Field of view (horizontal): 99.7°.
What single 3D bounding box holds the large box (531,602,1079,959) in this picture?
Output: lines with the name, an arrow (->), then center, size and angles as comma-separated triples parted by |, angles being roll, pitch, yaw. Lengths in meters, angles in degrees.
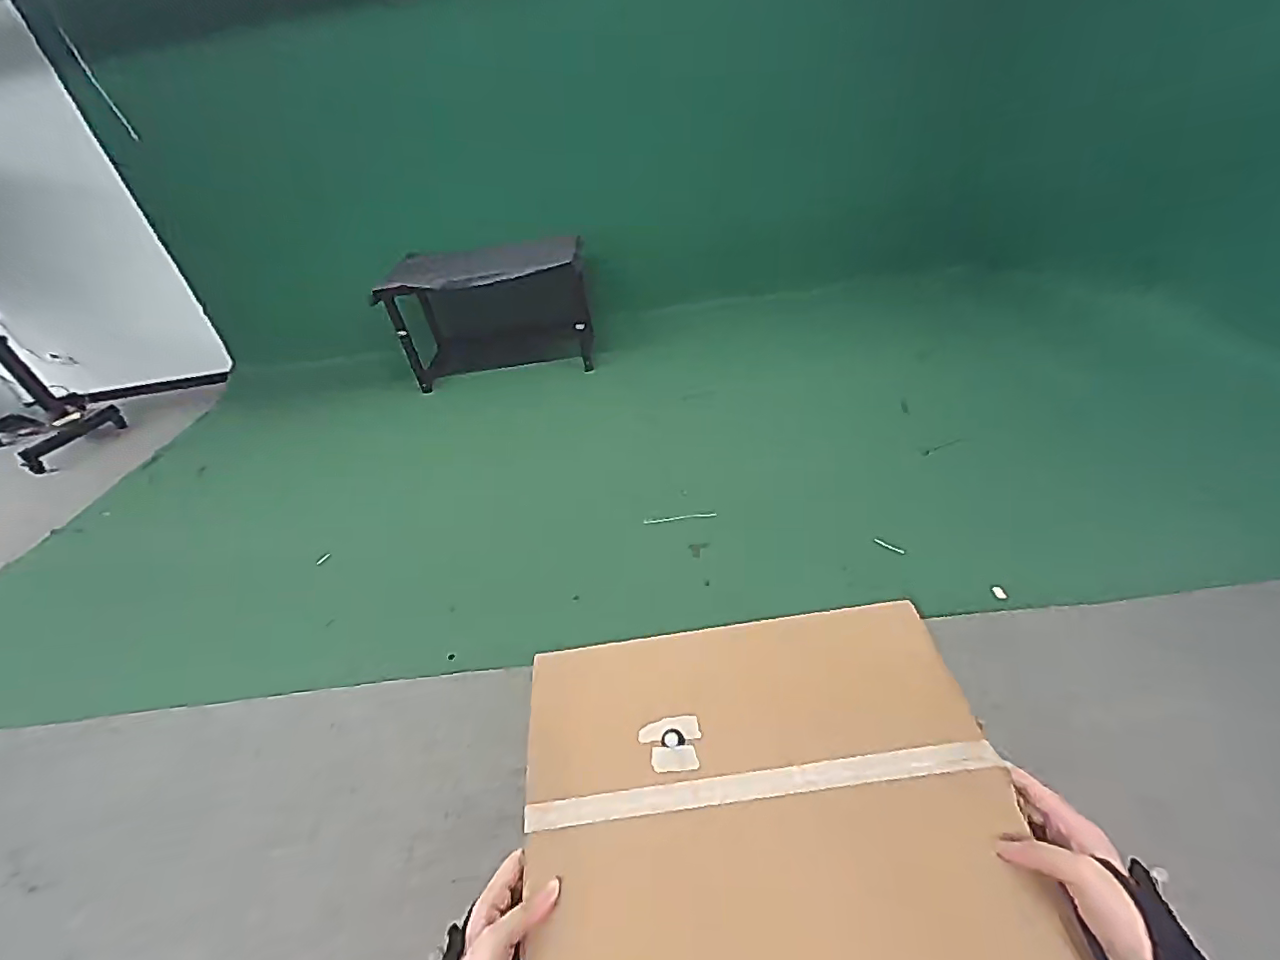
large box -> 0.125, 0.376, 0.588 | 0.408, 0.320, 0.320 | -11, 45, 3
